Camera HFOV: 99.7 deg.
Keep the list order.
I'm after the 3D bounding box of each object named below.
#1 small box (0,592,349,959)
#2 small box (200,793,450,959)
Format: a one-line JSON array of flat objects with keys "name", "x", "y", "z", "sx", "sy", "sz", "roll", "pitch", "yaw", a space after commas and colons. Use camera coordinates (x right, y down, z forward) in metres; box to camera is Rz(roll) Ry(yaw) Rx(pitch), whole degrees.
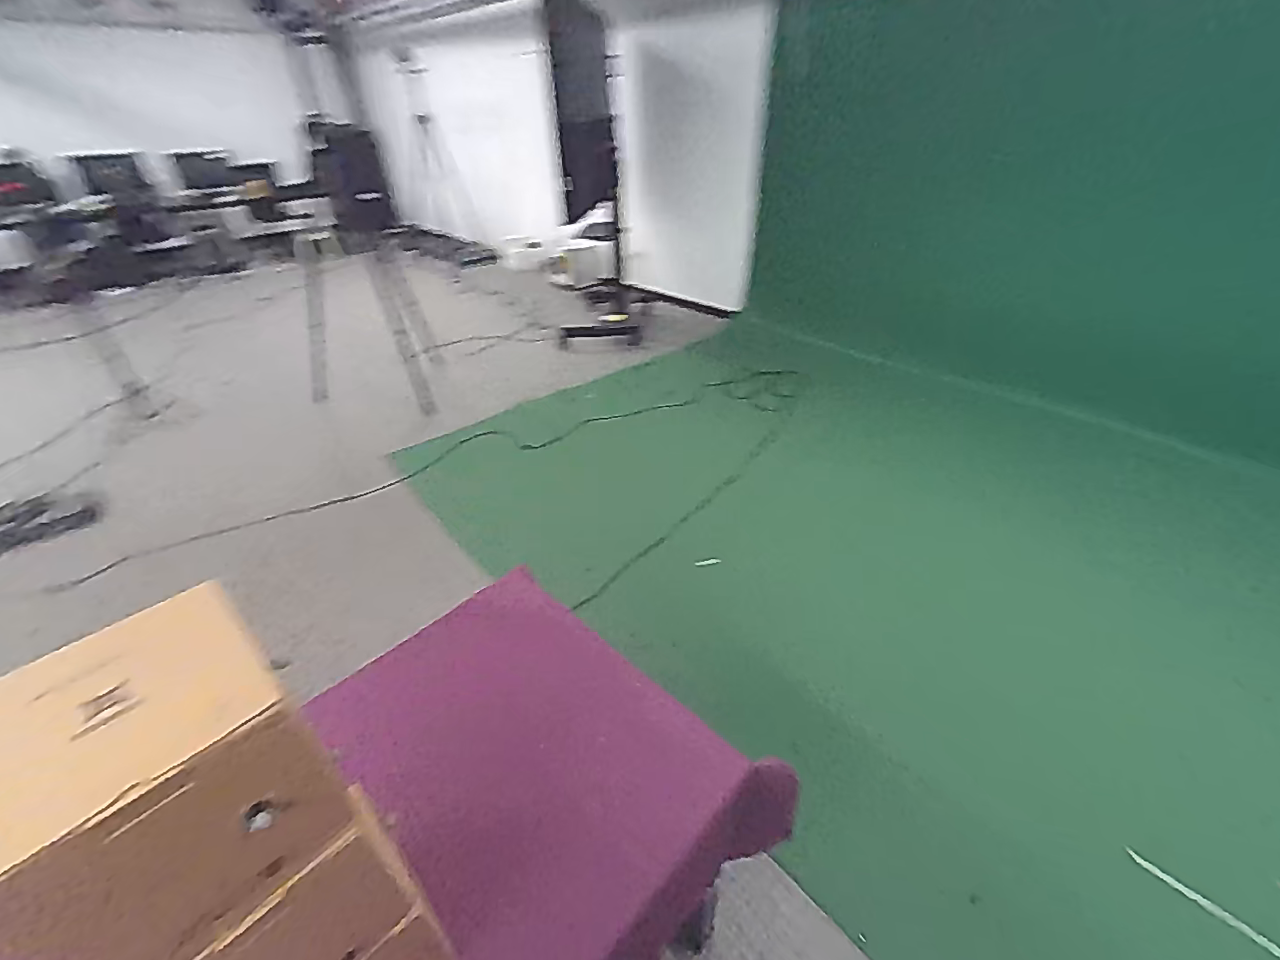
[{"name": "small box", "x": -0.351, "y": 0.225, "z": 0.402, "sx": 0.179, "sy": 0.176, "sz": 0.168, "roll": 26, "pitch": 43, "yaw": 36}, {"name": "small box", "x": -0.333, "y": 0.497, "z": 0.583, "sx": 0.168, "sy": 0.176, "sz": 0.179, "roll": -31, "pitch": 44, "yaw": -34}]
